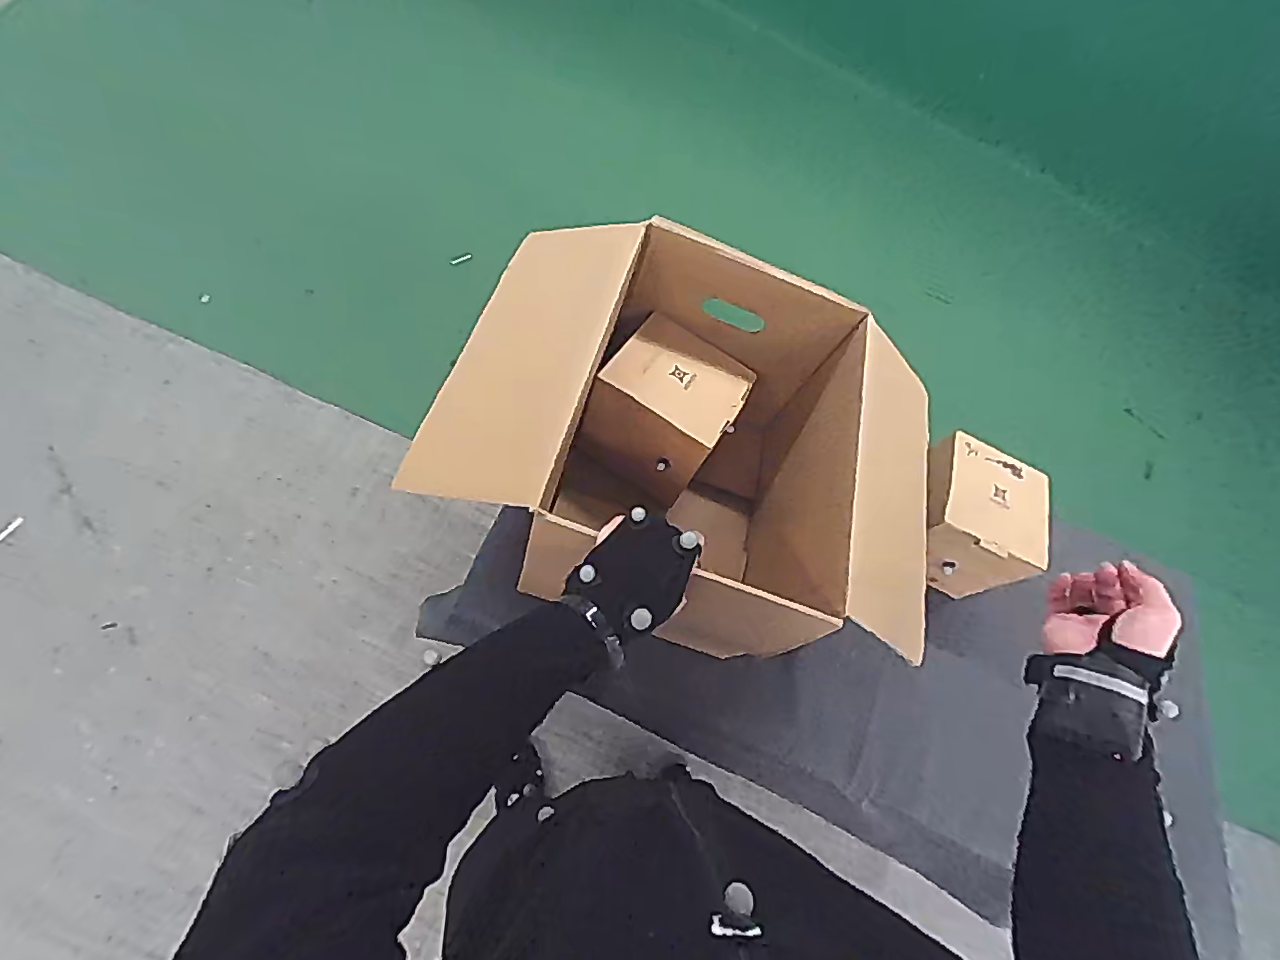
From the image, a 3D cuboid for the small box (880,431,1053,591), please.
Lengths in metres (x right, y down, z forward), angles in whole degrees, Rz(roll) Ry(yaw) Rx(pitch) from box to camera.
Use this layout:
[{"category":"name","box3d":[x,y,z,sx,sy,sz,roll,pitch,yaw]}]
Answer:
[{"category":"small box","box3d":[0.519,0.060,0.877,0.168,0.176,0.179,28,63,-2]}]
